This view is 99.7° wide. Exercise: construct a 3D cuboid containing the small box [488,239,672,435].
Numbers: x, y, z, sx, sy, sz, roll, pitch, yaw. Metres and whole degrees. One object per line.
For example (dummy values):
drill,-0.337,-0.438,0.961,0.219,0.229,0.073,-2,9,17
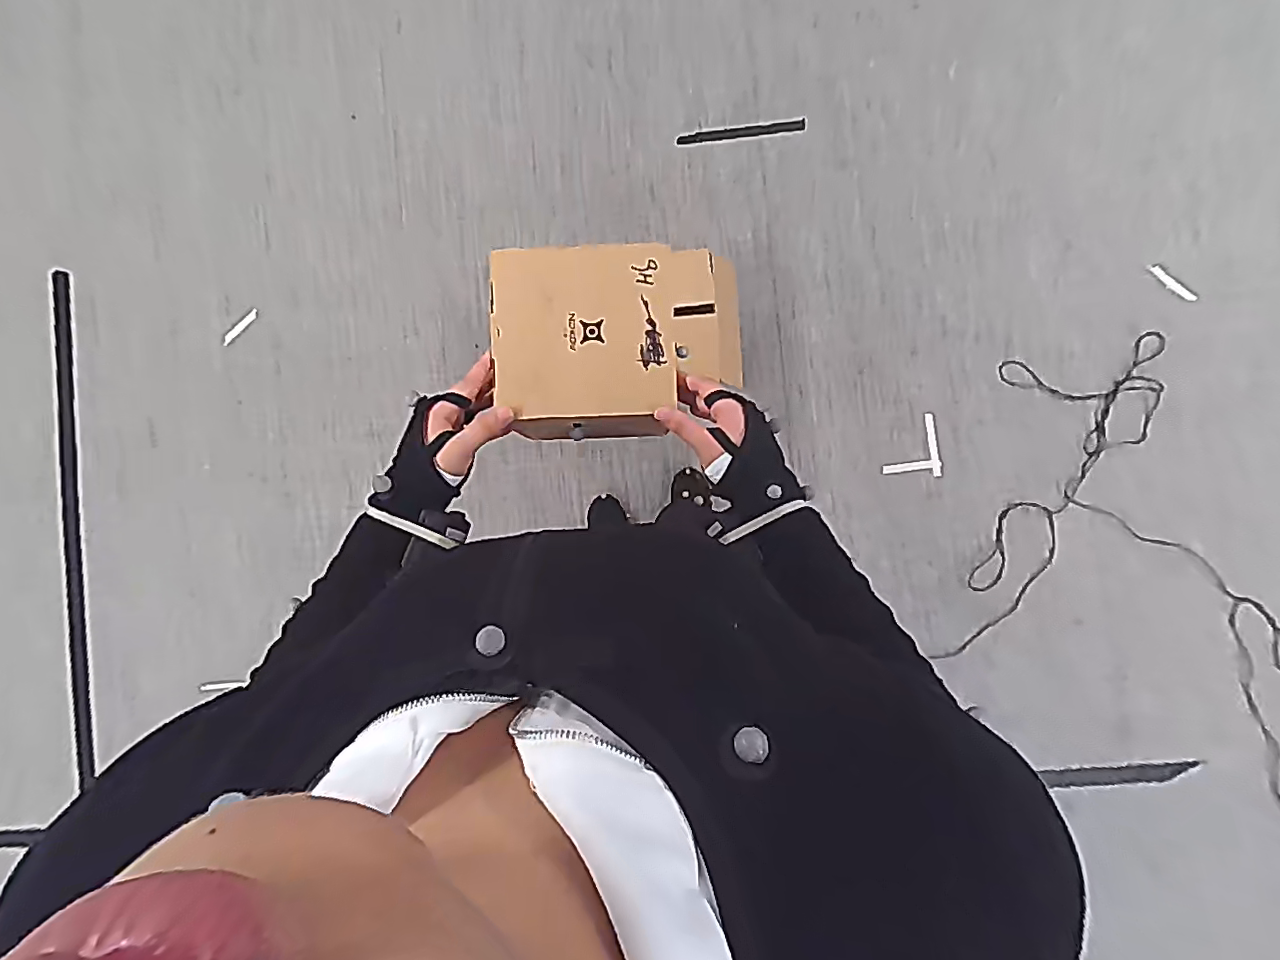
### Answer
small box,-0.057,-0.143,0.595,0.179,0.176,0.168,-2,87,0
